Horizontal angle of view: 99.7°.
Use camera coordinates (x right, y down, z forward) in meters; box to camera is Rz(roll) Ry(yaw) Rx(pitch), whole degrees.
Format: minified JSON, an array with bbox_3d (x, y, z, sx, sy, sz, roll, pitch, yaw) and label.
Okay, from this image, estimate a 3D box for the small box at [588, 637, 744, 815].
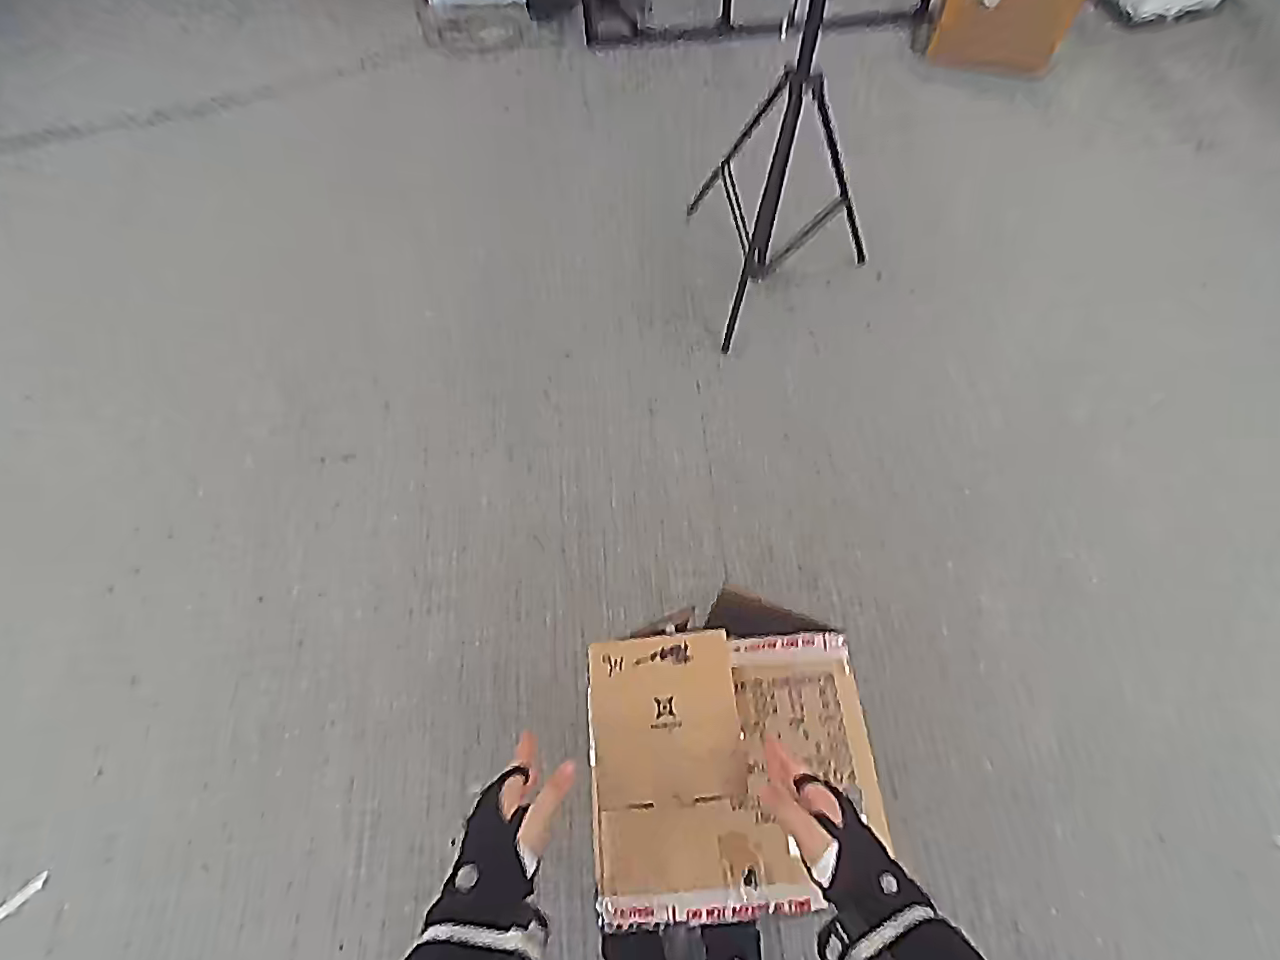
[{"bbox_3d":[0.029,0.301,0.685,0.168,0.176,0.179,-6,69,0],"label":"small box"}]
